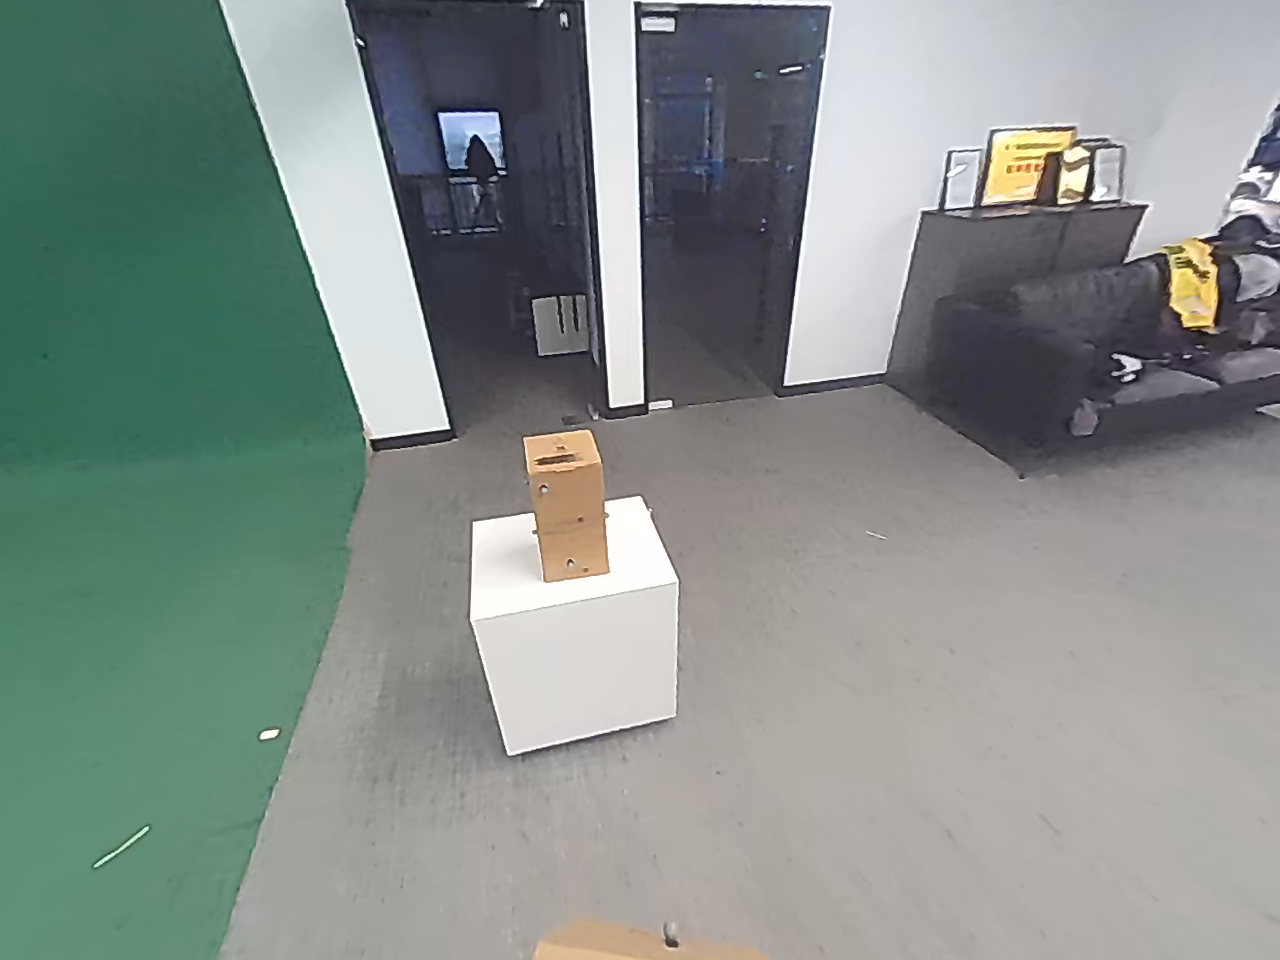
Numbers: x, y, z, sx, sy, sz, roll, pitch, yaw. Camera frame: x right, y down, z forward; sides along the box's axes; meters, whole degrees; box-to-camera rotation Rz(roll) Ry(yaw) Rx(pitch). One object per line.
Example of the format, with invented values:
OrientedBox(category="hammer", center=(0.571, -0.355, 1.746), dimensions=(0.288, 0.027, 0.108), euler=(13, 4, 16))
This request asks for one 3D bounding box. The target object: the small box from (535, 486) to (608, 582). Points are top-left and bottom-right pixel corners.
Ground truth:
OrientedBox(category="small box", center=(-0.176, 0.136, 1.384), dimensions=(0.168, 0.176, 0.179), euler=(-7, 32, -9))
